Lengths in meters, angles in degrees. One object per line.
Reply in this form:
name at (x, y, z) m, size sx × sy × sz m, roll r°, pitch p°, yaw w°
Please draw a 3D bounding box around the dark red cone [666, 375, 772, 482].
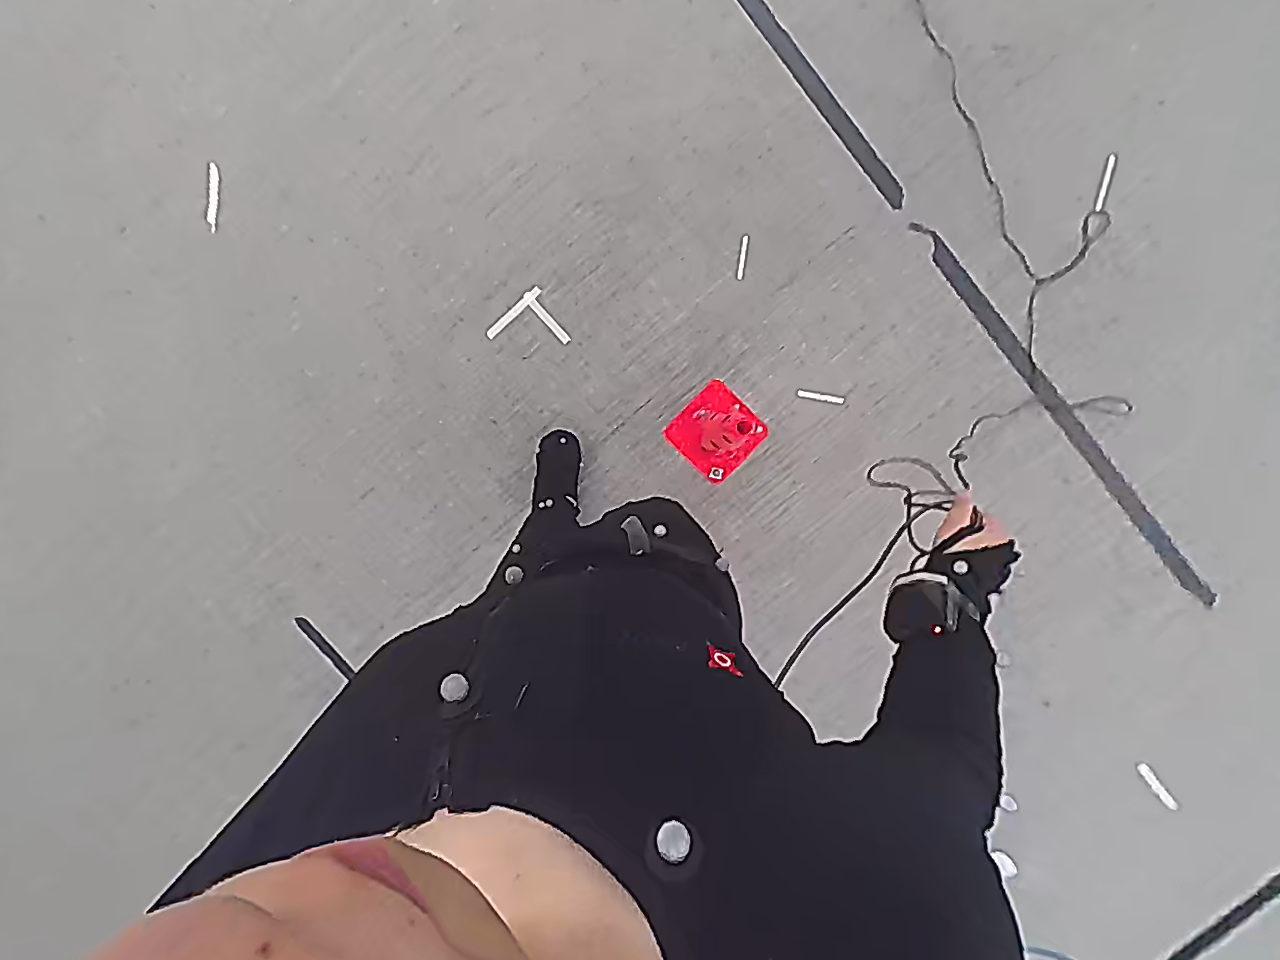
dark red cone at (0.192, -0.117, 1.149) m, size 0.202 × 0.394 × 0.201 m, roll 43°, pitch 91°, yaw -2°
